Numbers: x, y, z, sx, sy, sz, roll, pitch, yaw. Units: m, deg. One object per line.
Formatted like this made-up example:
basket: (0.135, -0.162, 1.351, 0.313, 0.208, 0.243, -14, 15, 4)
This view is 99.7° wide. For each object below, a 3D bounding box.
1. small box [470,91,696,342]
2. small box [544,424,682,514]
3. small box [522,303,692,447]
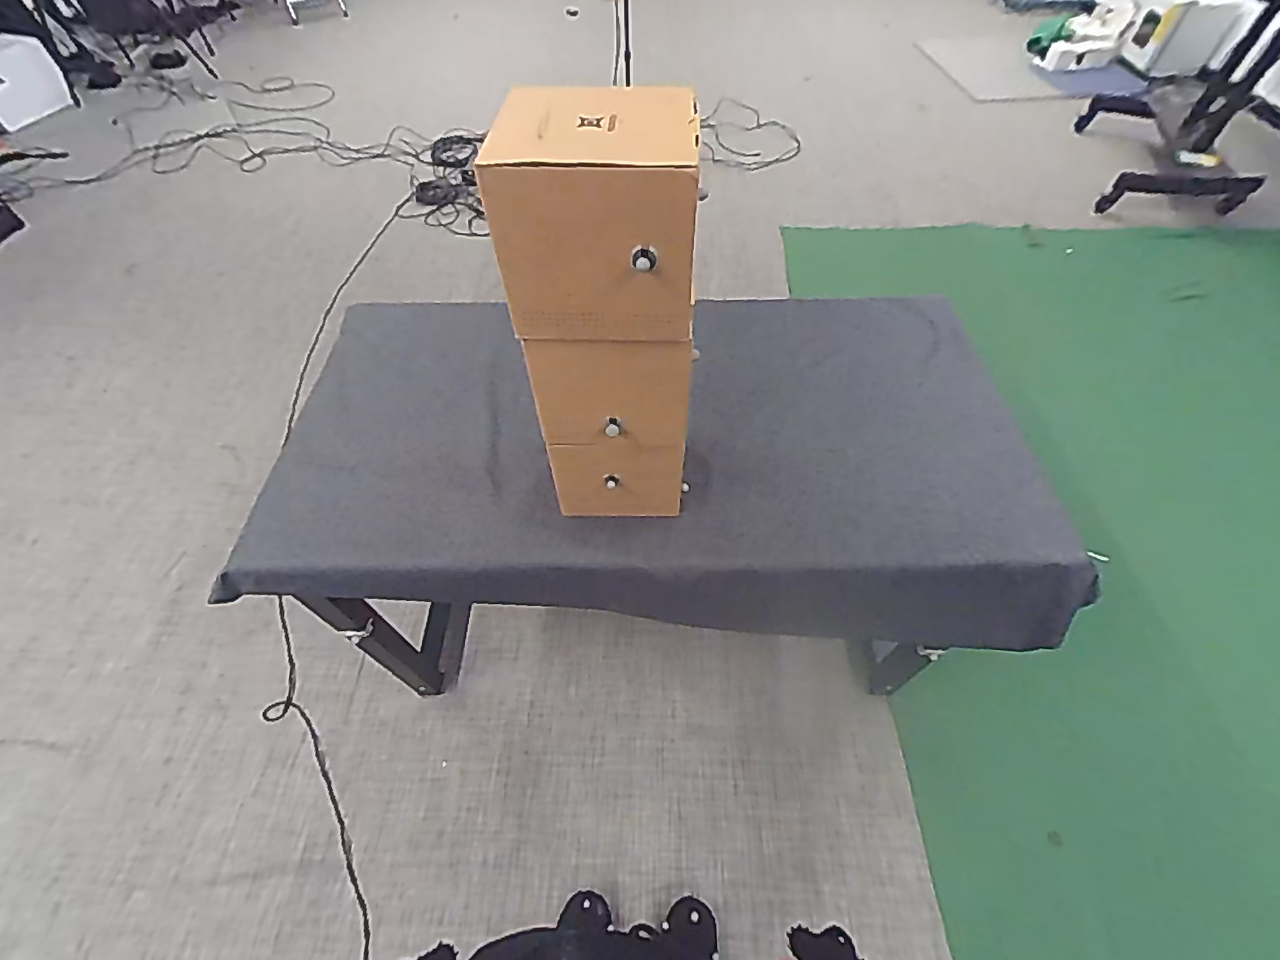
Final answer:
small box: (-0.040, -0.249, 0.525, 0.179, 0.176, 0.168, 0, 52, 3)
small box: (-0.032, -0.061, 0.791, 0.179, 0.176, 0.168, 0, 53, 2)
small box: (-0.034, -0.153, 0.660, 0.179, 0.176, 0.168, -2, 55, 0)
